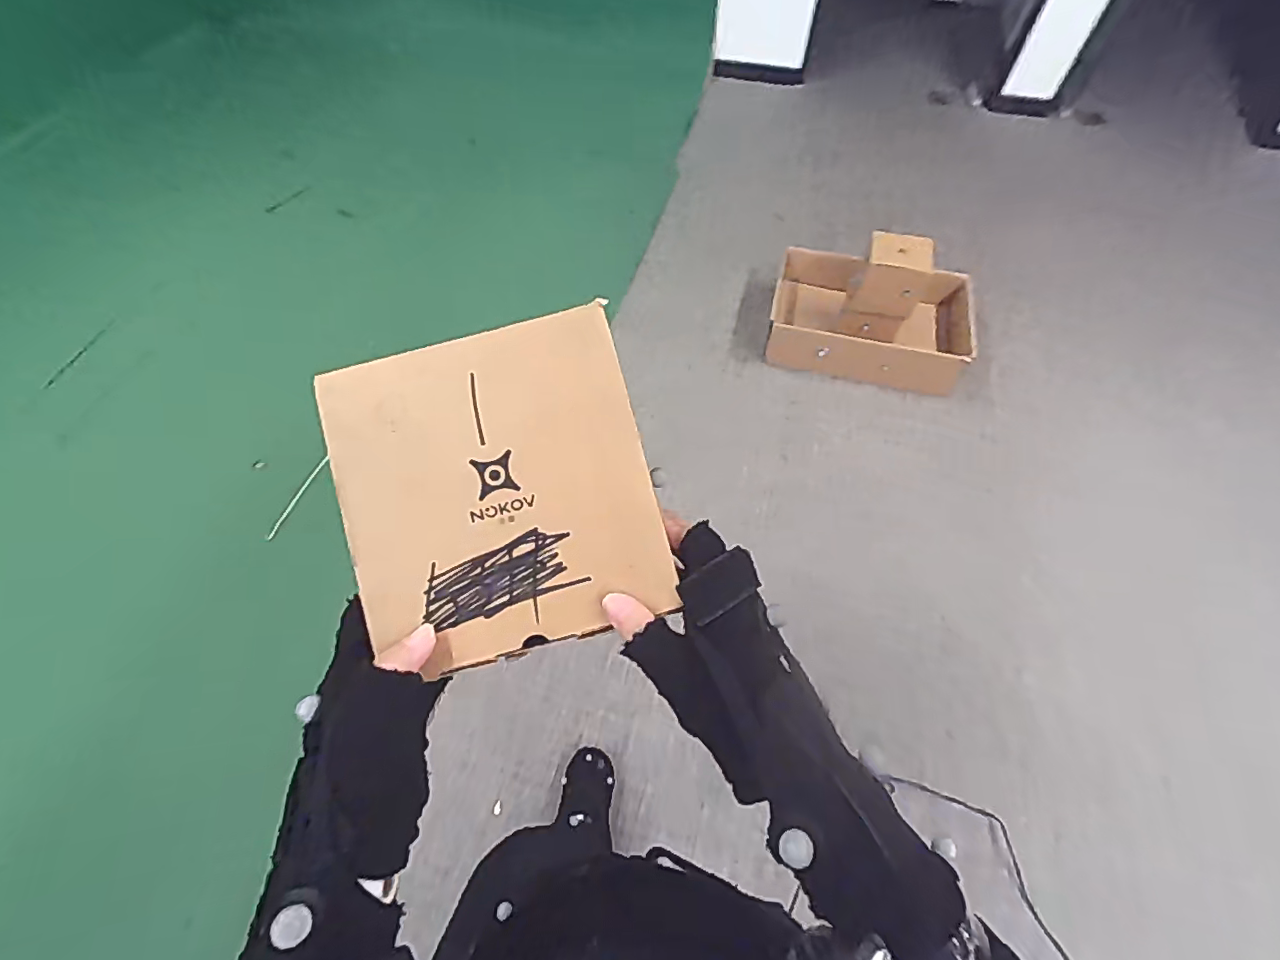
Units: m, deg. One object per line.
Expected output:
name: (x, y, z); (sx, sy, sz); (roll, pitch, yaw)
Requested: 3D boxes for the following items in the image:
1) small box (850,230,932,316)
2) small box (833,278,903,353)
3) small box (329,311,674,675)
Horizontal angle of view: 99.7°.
small box: (0.754, -0.623, 1.640); (0.179, 0.176, 0.168); (10, 59, 5)
small box: (0.754, -0.545, 1.804); (0.179, 0.176, 0.168); (11, 58, 7)
small box: (-0.077, 0.011, 0.380); (0.168, 0.176, 0.179); (-14, 85, -1)
